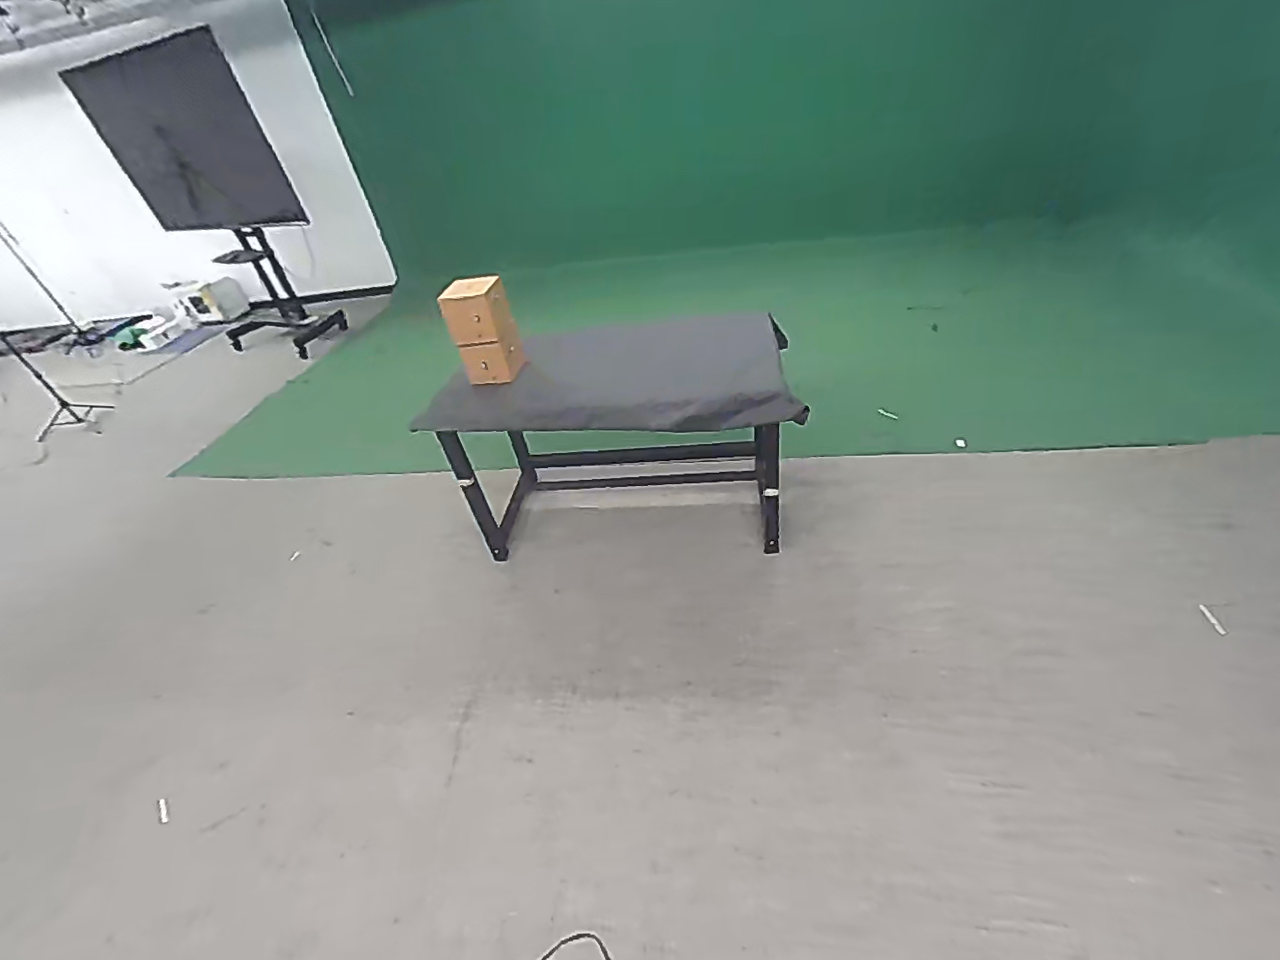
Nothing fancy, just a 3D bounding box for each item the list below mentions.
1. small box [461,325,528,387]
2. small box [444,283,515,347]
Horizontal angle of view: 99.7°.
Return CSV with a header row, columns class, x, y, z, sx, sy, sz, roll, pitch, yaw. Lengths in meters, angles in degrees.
class,x,y,z,sx,sy,sz,roll,pitch,yaw
small box,-0.529,-0.454,2.001,0.168,0.176,0.179,-1,39,11
small box,-0.553,-0.572,1.890,0.168,0.176,0.179,-2,38,9
